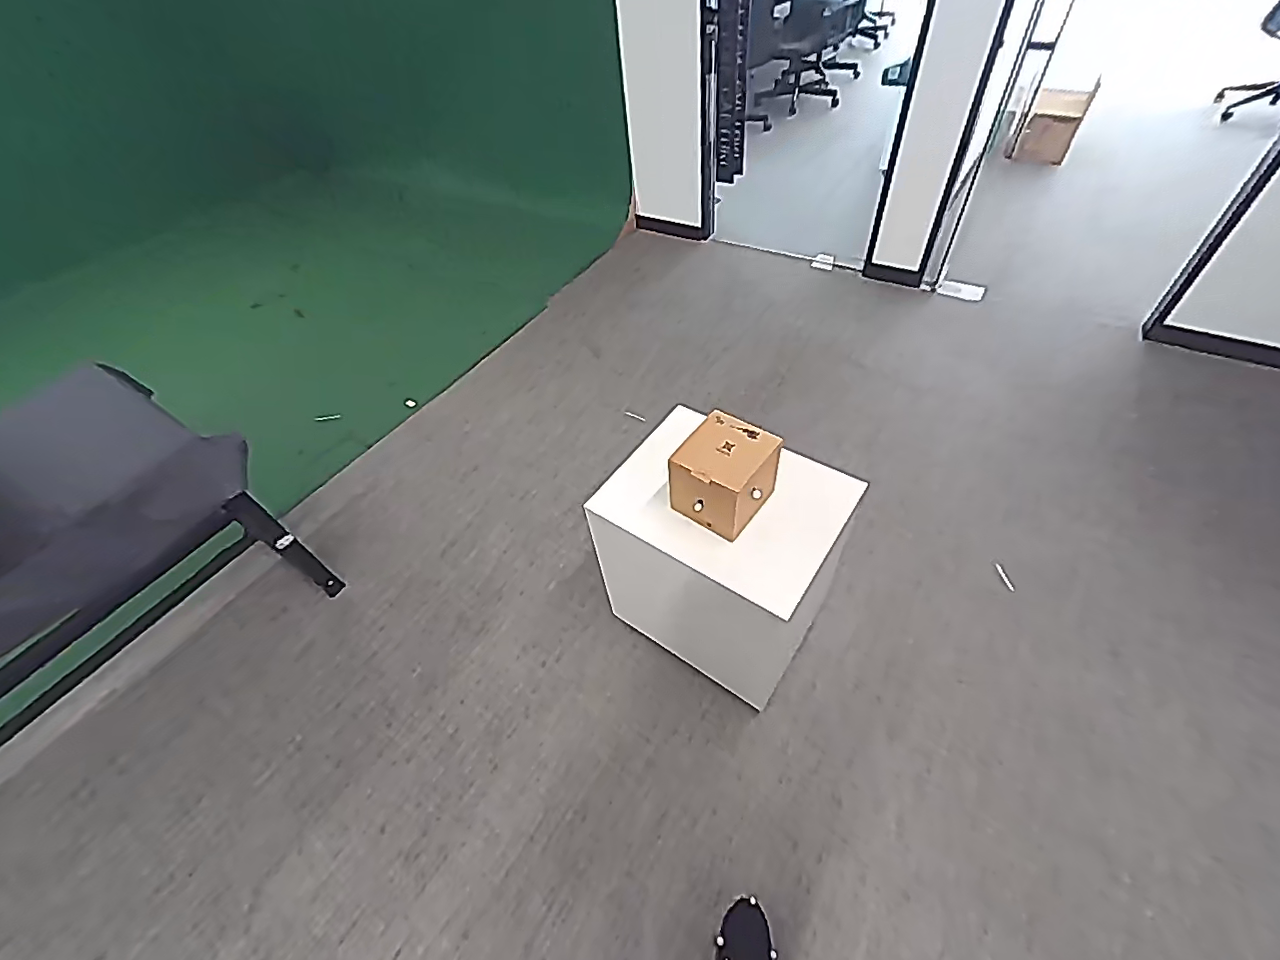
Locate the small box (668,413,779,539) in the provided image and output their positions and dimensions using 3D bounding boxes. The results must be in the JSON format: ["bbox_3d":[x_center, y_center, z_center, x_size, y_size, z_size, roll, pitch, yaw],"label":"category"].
[{"bbox_3d":[0.179,-0.006,1.154,0.168,0.176,0.179,27,57,26],"label":"small box"}]
